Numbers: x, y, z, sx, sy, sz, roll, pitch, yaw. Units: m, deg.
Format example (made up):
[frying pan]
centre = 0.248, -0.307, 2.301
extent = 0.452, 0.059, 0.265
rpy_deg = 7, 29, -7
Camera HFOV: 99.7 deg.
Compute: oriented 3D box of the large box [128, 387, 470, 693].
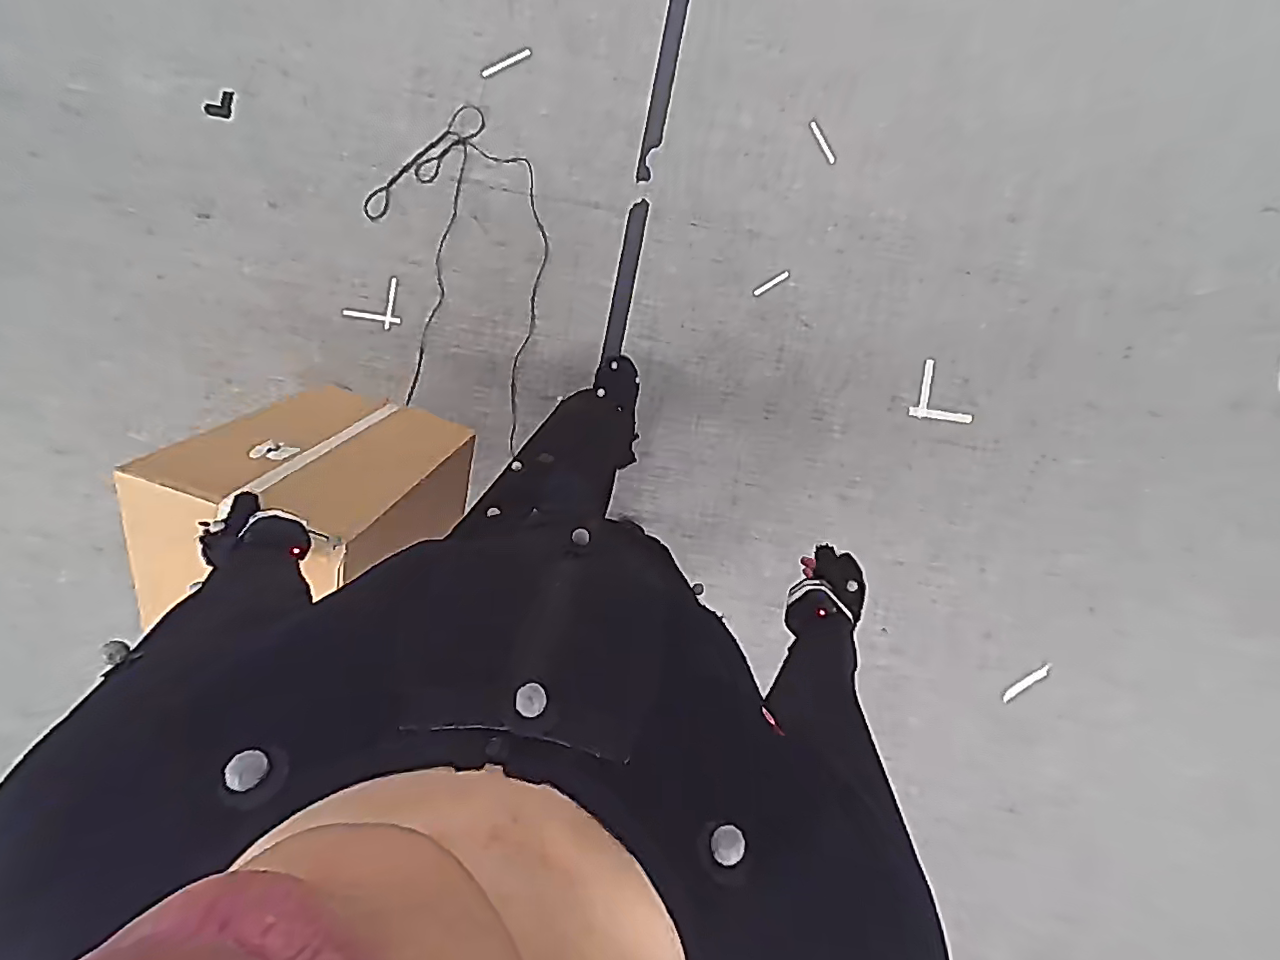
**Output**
[large box]
centre = -0.537, 0.076, 0.944
extent = 0.320, 0.408, 0.320
rpy_deg = 17, 117, 1
